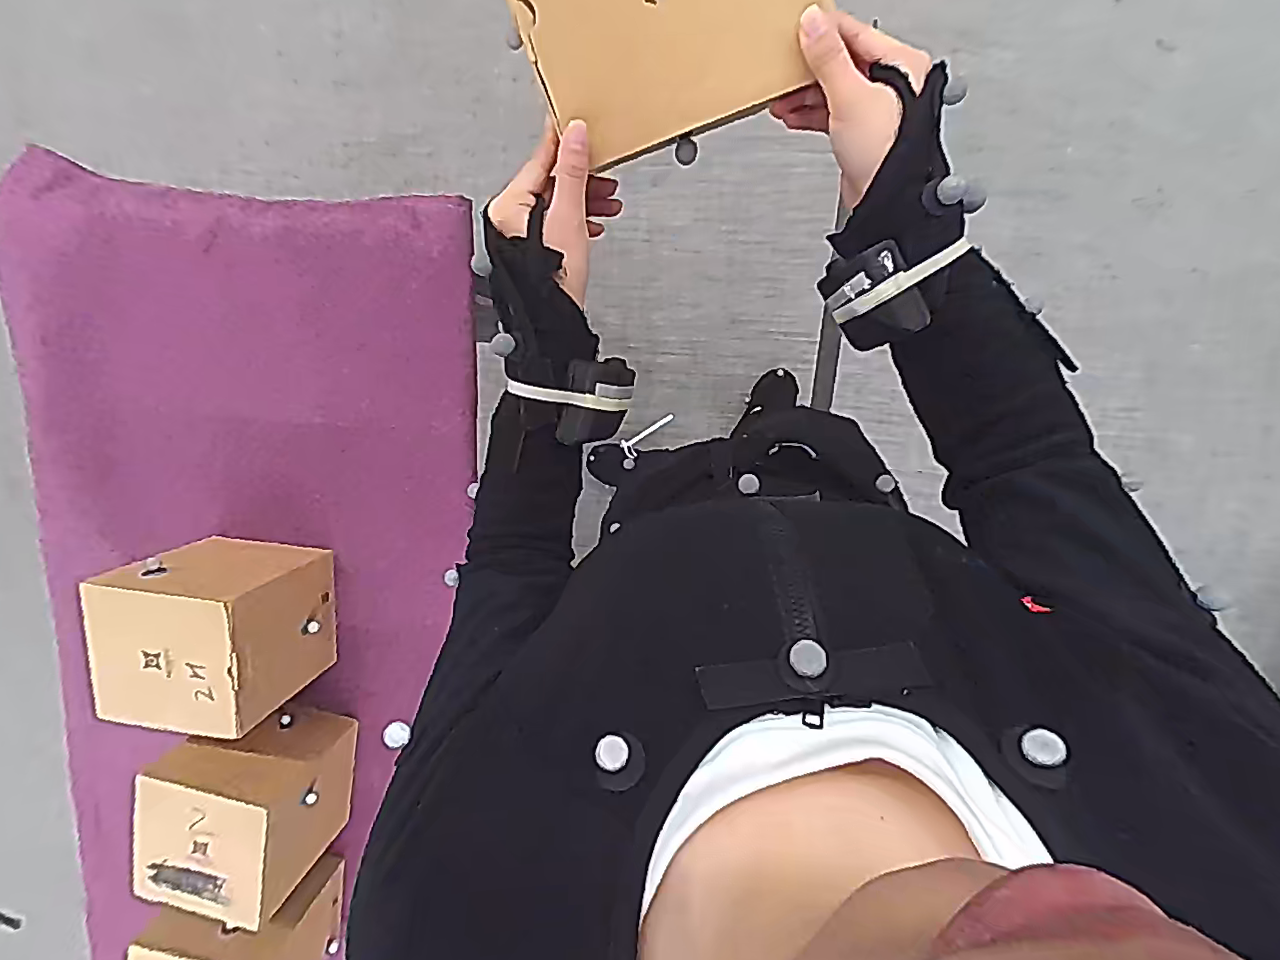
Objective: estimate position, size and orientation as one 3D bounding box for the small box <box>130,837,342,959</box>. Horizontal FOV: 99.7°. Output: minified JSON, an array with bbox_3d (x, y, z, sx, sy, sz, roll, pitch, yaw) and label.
[{"bbox_3d":[-0.547,0.643,0.754,0.179,0.176,0.168,10,101,4],"label":"small box"}]

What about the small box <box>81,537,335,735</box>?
[{"bbox_3d":[-0.508,0.175,0.661,0.179,0.176,0.168,6,102,5],"label":"small box"}]

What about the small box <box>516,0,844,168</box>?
[{"bbox_3d":[0.009,-0.328,0.361,0.179,0.176,0.168,-19,118,4],"label":"small box"}]
